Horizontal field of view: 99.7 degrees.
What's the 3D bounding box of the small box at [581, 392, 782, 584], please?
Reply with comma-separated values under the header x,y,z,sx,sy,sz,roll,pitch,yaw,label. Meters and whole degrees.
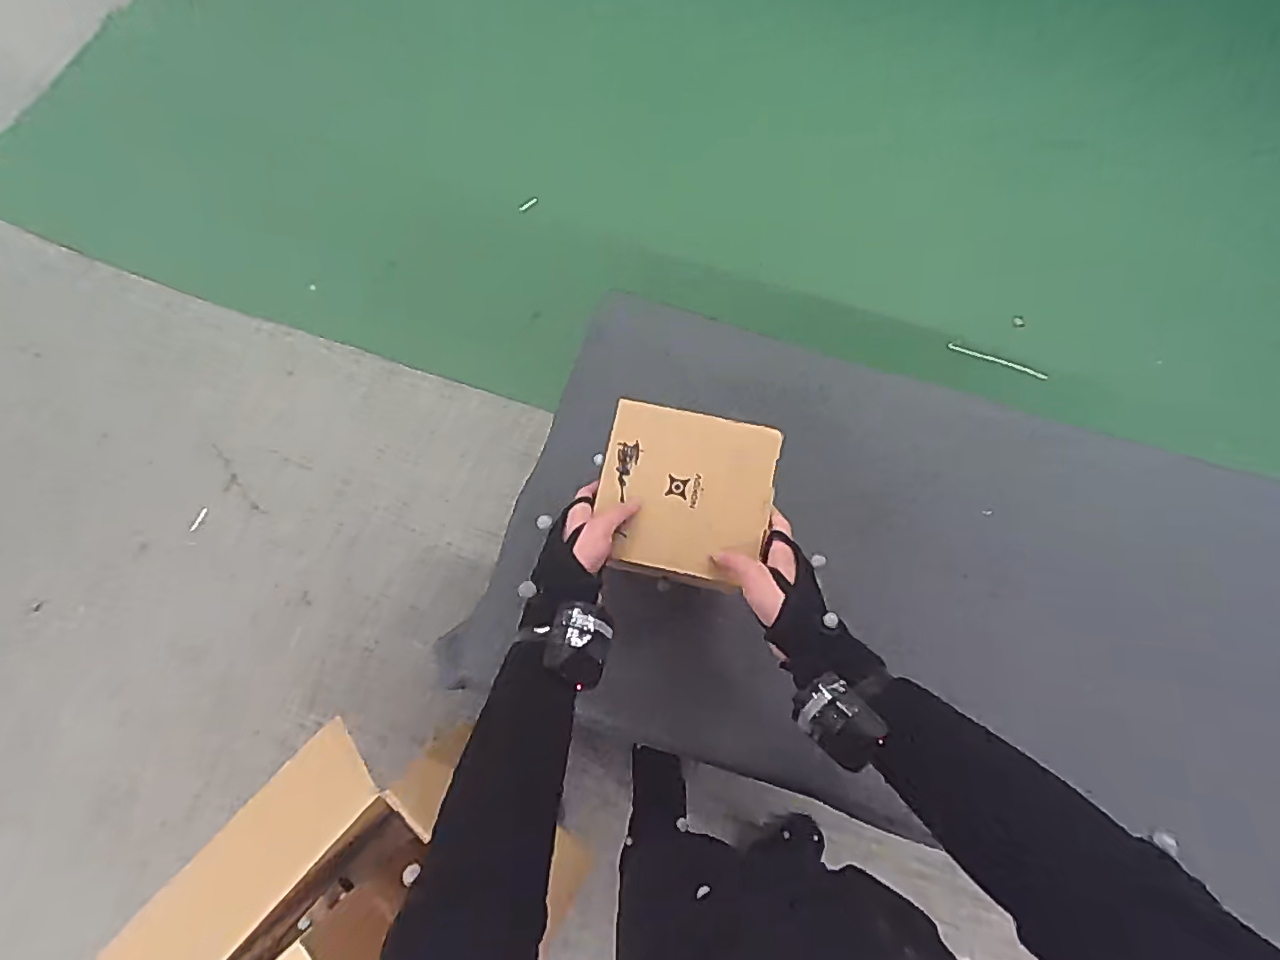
x,y,z,sx,sy,sz,roll,pitch,yaw,label
0.044,0.020,0.620,0.179,0.176,0.168,13,77,3,small box
